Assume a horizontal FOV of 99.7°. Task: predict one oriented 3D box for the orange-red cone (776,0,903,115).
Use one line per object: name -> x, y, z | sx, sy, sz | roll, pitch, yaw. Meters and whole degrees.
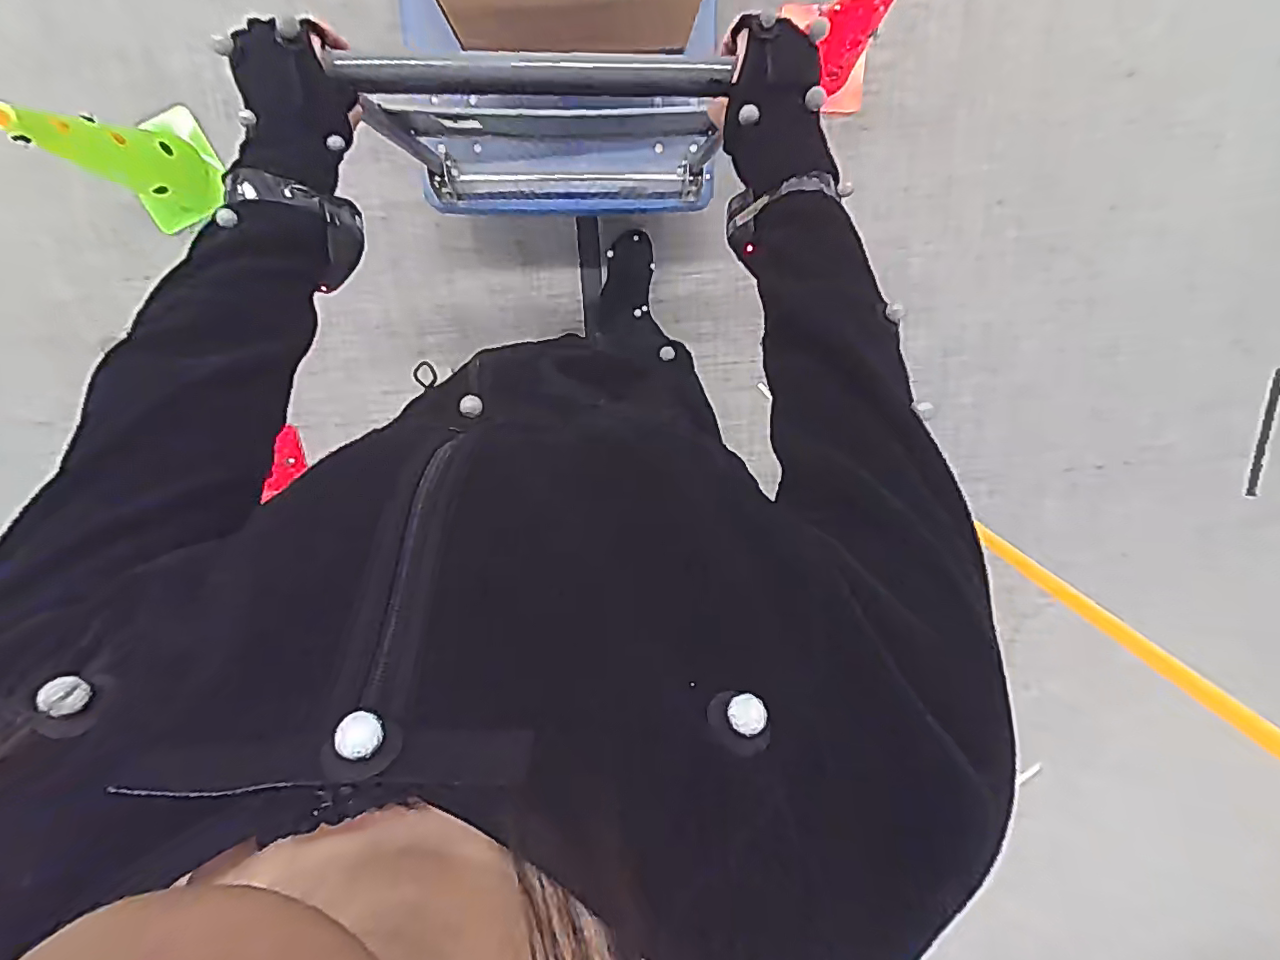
orange-red cone -> 0.415, -0.863, 1.015 | 0.199, 0.360, 0.198 | 1, 107, -5
